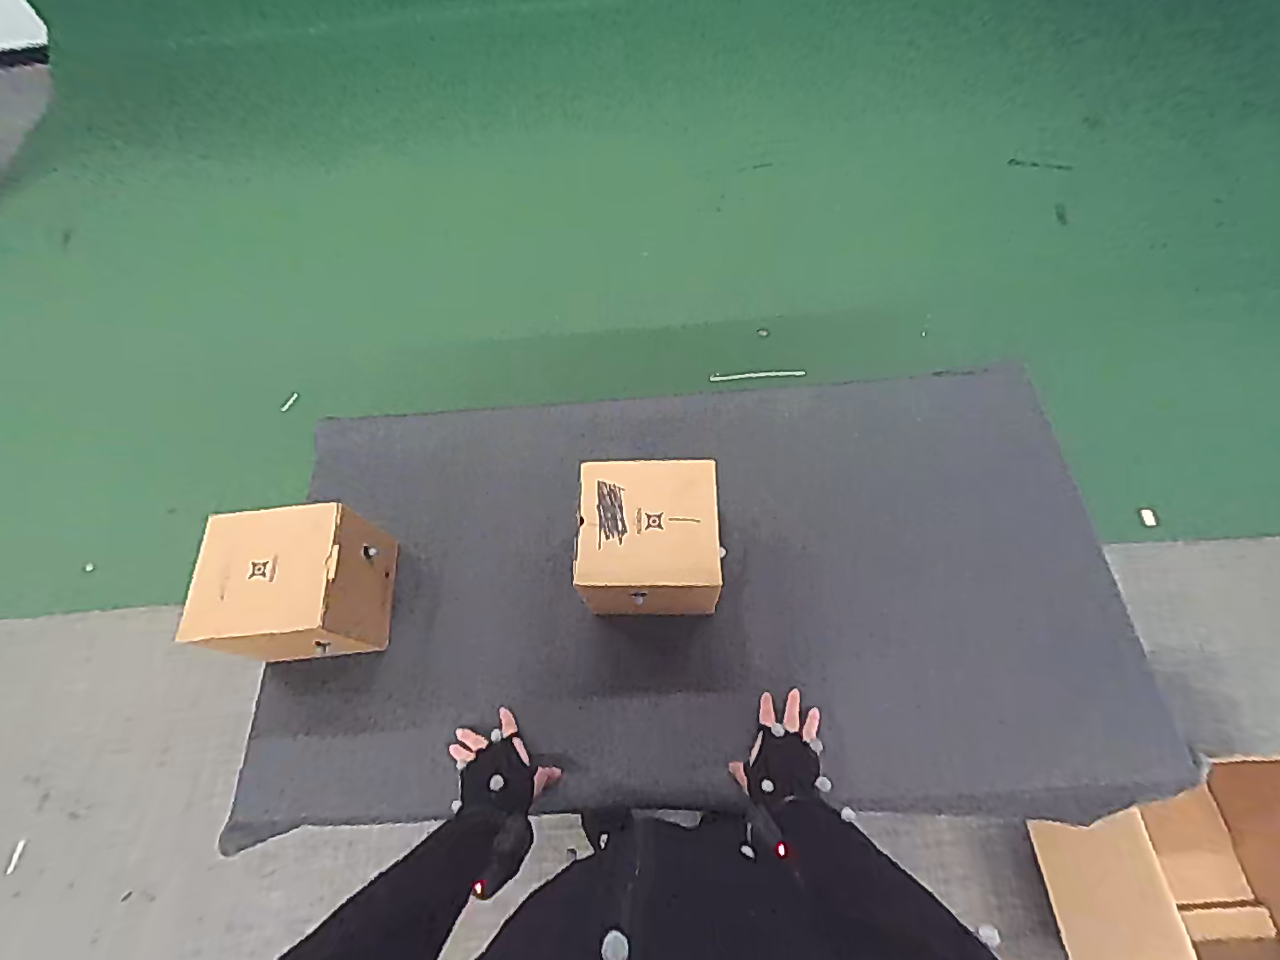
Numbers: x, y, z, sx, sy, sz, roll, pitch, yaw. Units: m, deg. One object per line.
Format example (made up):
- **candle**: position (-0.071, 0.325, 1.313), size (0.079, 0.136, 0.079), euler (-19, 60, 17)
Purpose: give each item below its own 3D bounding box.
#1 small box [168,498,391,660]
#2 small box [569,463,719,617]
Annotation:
- **small box**: position (-0.460, 0.139, 0.726), size (0.179, 0.176, 0.168), euler (-7, 63, 2)
- **small box**: position (0.014, 0.088, 0.734), size (0.179, 0.176, 0.168), euler (2, 66, 5)
